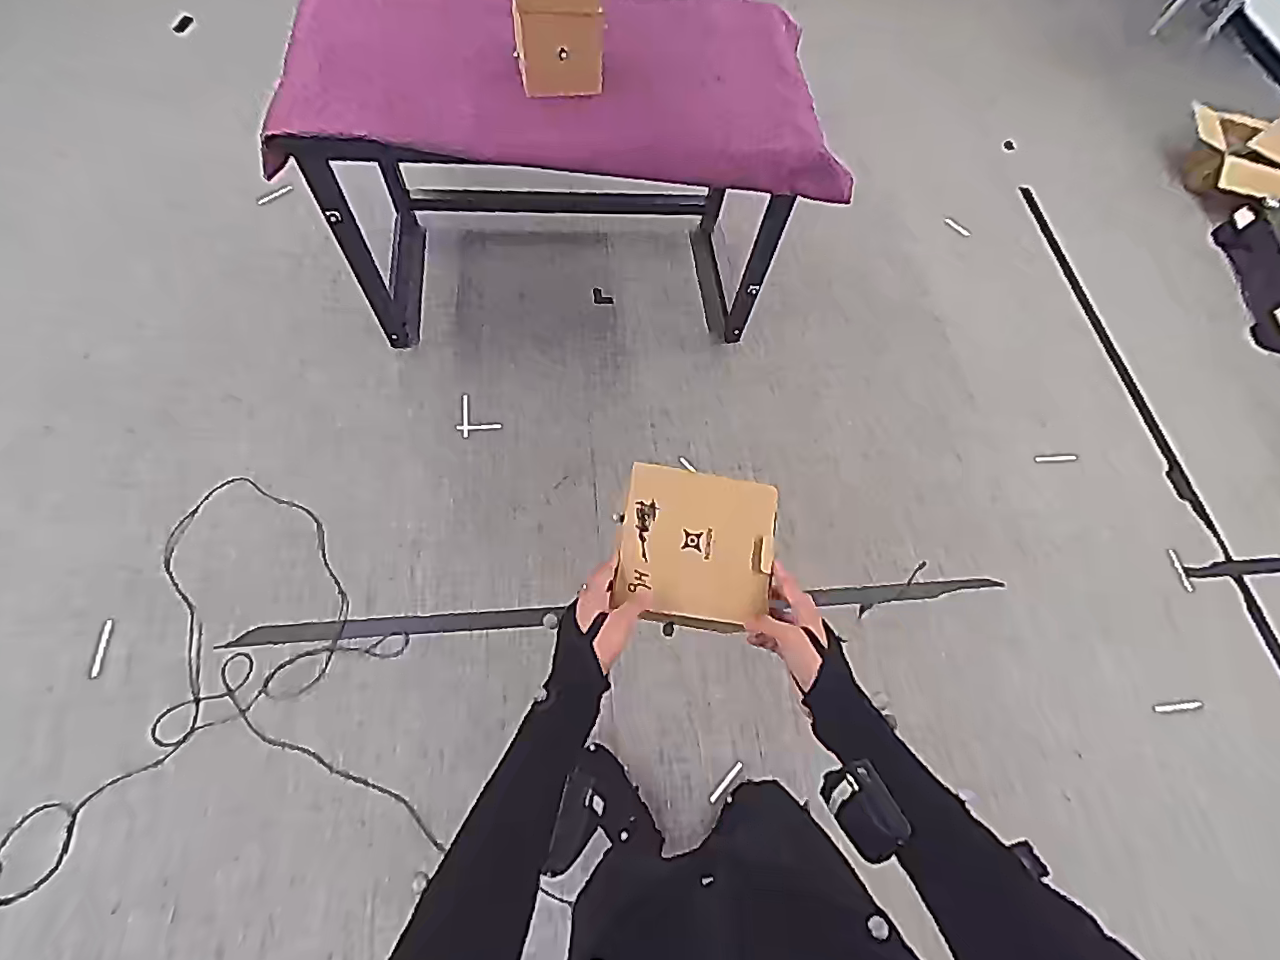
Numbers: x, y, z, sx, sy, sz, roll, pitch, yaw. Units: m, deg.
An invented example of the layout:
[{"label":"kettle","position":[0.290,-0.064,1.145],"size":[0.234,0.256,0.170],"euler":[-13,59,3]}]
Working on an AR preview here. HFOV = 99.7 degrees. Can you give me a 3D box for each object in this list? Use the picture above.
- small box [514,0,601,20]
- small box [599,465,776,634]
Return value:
[{"label":"small box","position":[-0.169,-1.047,1.062],"size":[0.179,0.176,0.168],"euler":[-5,67,-8]},{"label":"small box","position":[0.052,0.097,0.681],"size":[0.179,0.176,0.168],"euler":[11,71,-6]}]
